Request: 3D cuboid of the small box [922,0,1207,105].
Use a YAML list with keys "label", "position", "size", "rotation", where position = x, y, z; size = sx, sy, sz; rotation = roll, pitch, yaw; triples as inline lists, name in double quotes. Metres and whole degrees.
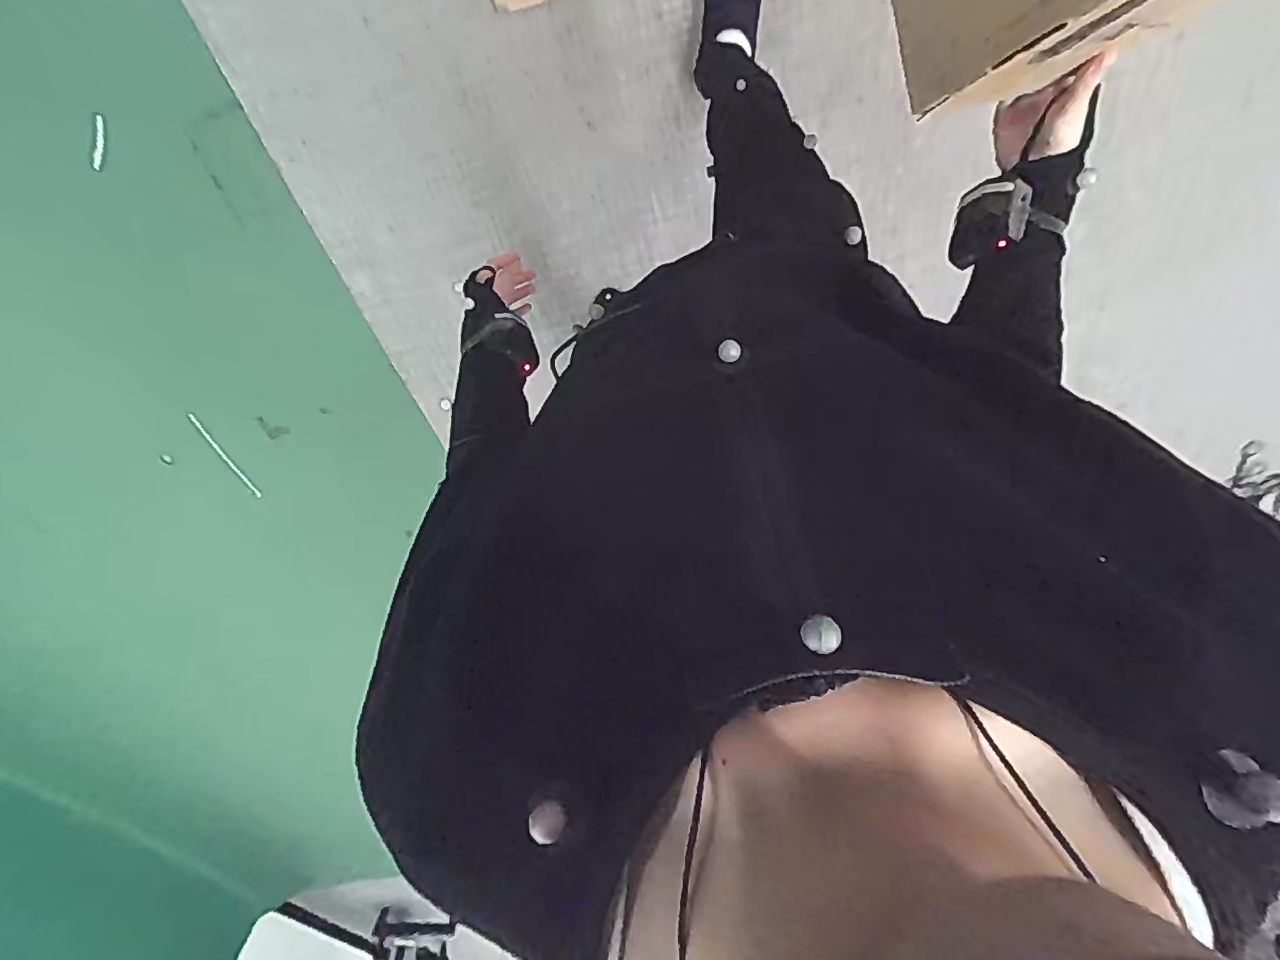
- label: "small box"
  position: [0.283, -0.369, 0.320]
  size: [0.179, 0.168, 0.176]
  rotation: [-24, 104, -18]
